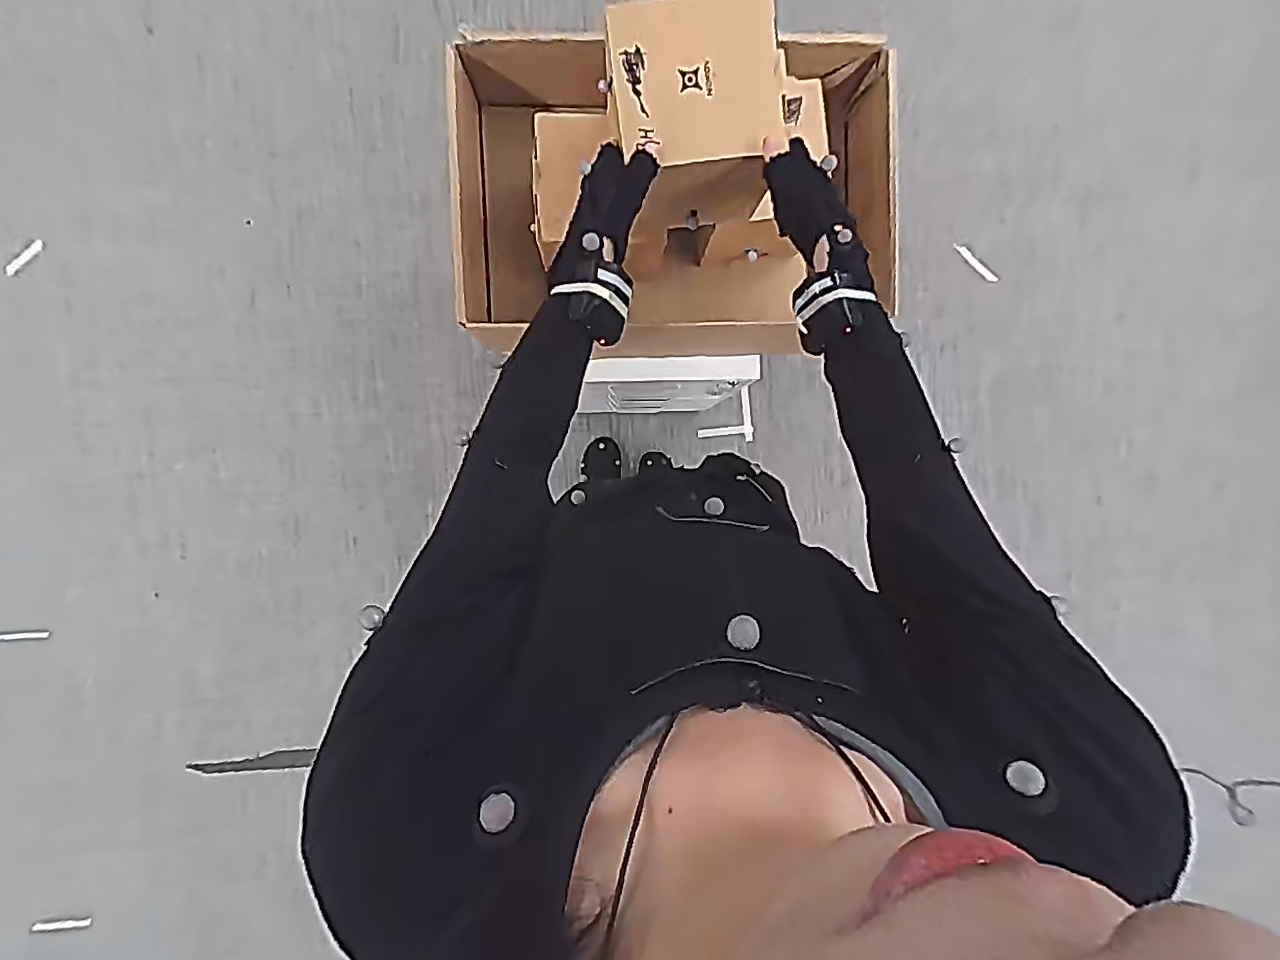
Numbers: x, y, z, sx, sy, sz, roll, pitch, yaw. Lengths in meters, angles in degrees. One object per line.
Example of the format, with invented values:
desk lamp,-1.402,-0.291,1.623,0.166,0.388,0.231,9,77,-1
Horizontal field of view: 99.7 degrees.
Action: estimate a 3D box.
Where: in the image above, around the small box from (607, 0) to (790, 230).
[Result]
small box,0.057,-0.413,0.633,0.179,0.176,0.168,-7,93,-3
